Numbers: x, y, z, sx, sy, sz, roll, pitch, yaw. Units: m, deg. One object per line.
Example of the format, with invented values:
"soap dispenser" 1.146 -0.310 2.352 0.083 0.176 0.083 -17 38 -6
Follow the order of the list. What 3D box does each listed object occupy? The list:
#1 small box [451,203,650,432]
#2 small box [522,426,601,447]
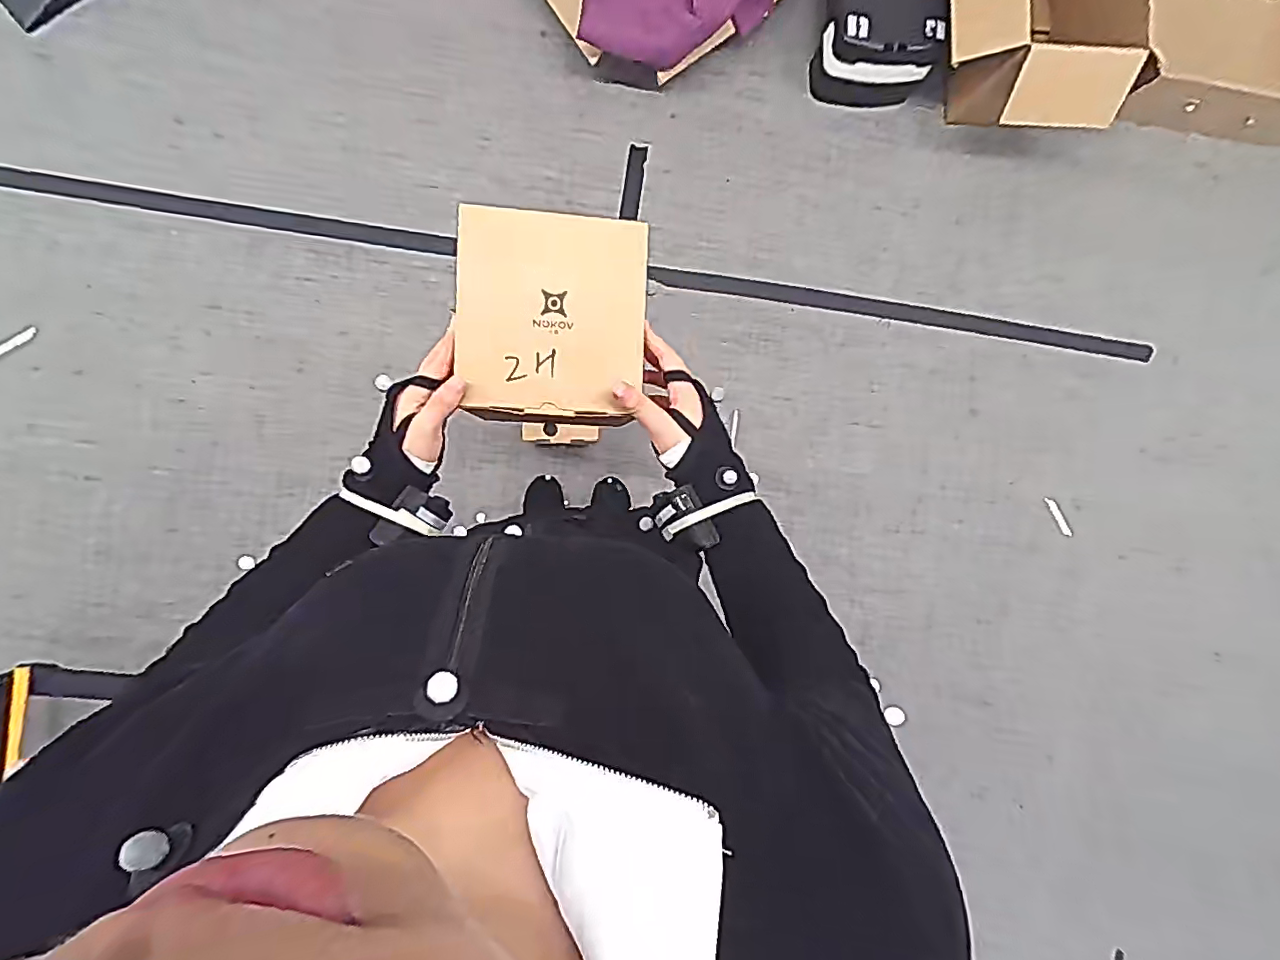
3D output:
"small box" -0.087 -0.147 0.550 0.168 0.176 0.179 3 91 -7
"small box" -0.174 -0.166 1.245 0.168 0.176 0.179 1 92 -3
